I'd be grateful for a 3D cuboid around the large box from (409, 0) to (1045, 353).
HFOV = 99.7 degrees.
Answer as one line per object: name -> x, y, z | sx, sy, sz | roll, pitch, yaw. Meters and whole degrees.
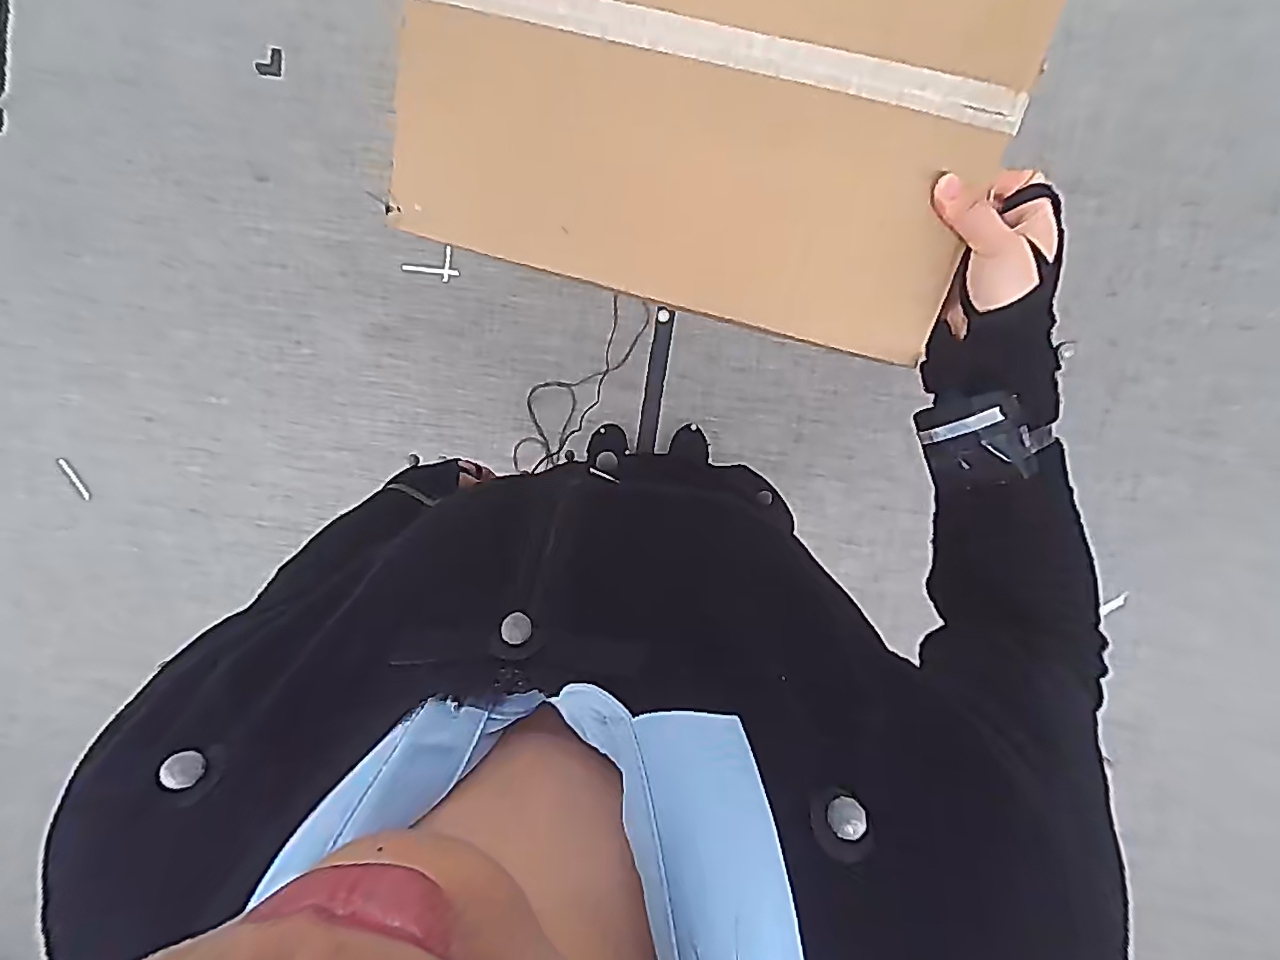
large box -> 0.067, -0.322, 0.503 | 0.408, 0.320, 0.320 | 16, 107, 6
